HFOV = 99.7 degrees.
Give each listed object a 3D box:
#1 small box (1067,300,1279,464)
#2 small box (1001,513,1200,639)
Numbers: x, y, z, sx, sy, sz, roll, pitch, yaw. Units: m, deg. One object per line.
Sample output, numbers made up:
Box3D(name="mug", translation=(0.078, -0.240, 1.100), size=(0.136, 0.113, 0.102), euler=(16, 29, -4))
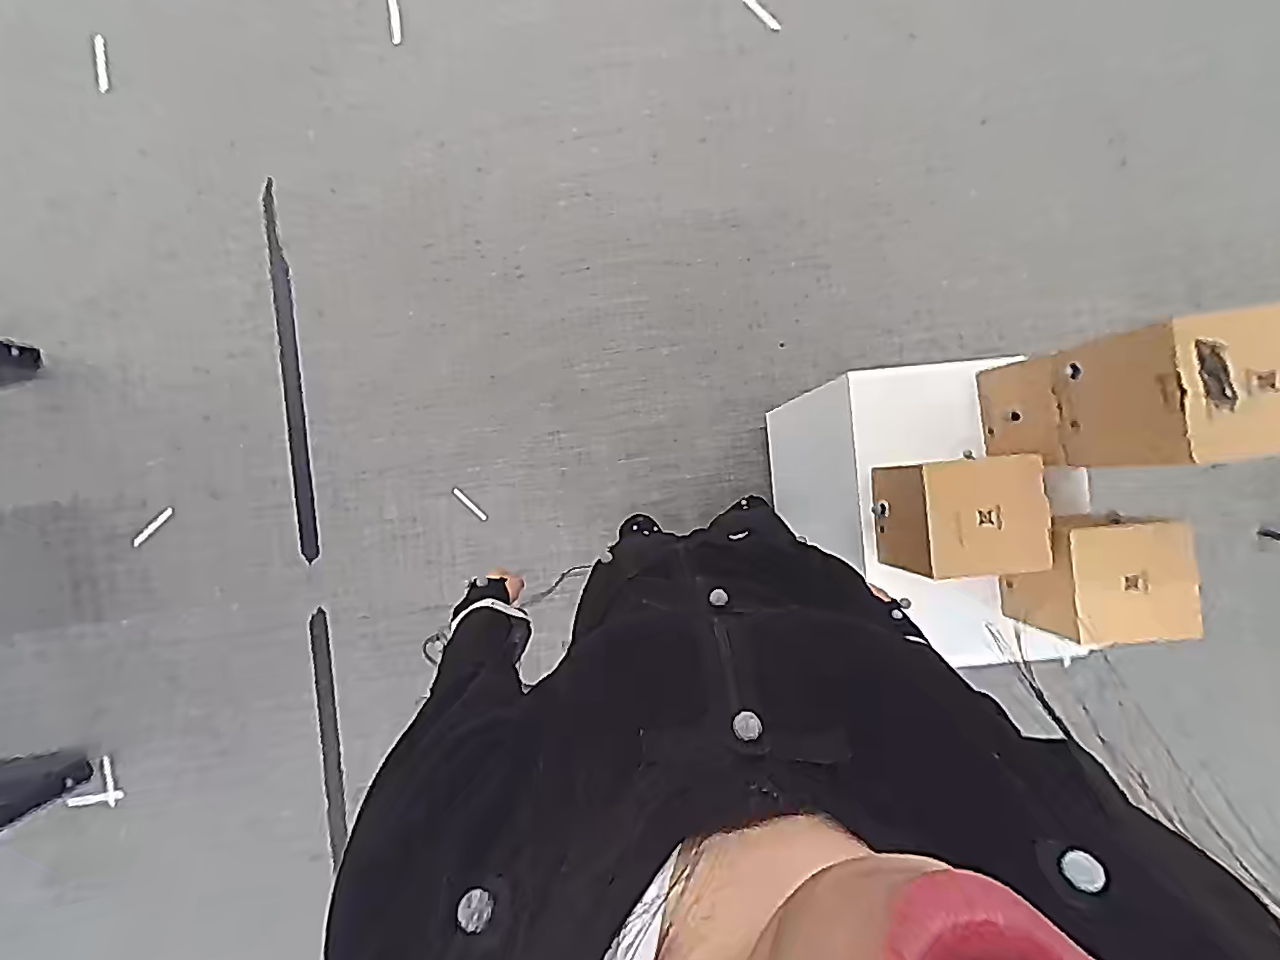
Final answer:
Box3D(name="small box", translation=(0.673, -0.112, 0.670), size=(0.179, 0.176, 0.168), euler=(-8, 91, -1))
Box3D(name="small box", translation=(0.693, 0.140, 0.838), size=(0.179, 0.176, 0.168), euler=(-4, 90, -1))
